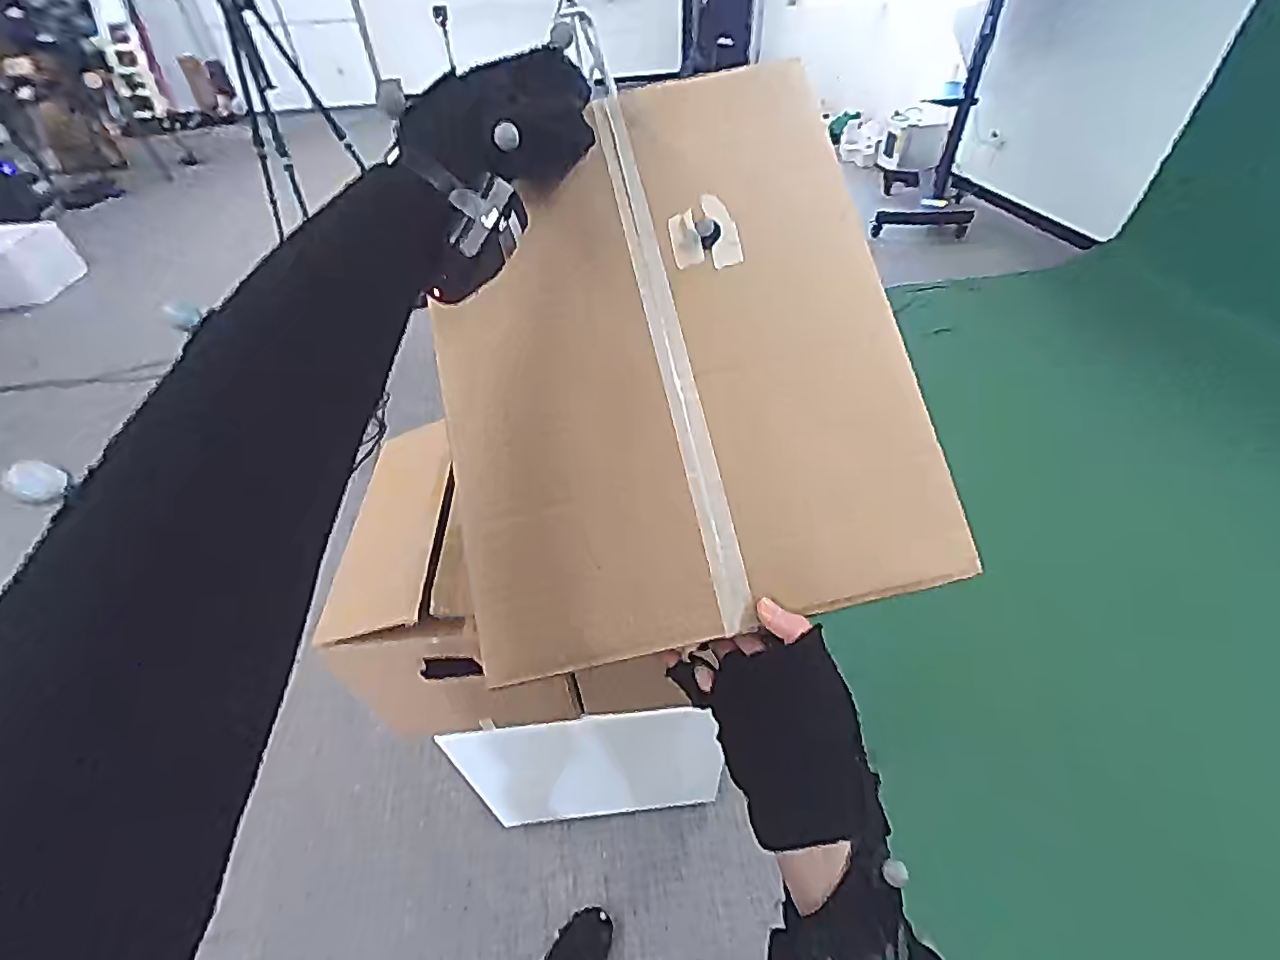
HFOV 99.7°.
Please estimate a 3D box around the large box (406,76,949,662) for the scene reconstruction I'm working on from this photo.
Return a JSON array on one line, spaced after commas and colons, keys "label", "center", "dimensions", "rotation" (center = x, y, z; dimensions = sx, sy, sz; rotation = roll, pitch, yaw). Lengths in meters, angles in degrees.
[{"label": "large box", "center": [0.013, -0.070, 0.532], "dimensions": [0.320, 0.320, 0.408], "rotation": [-13, 76, -1]}]
